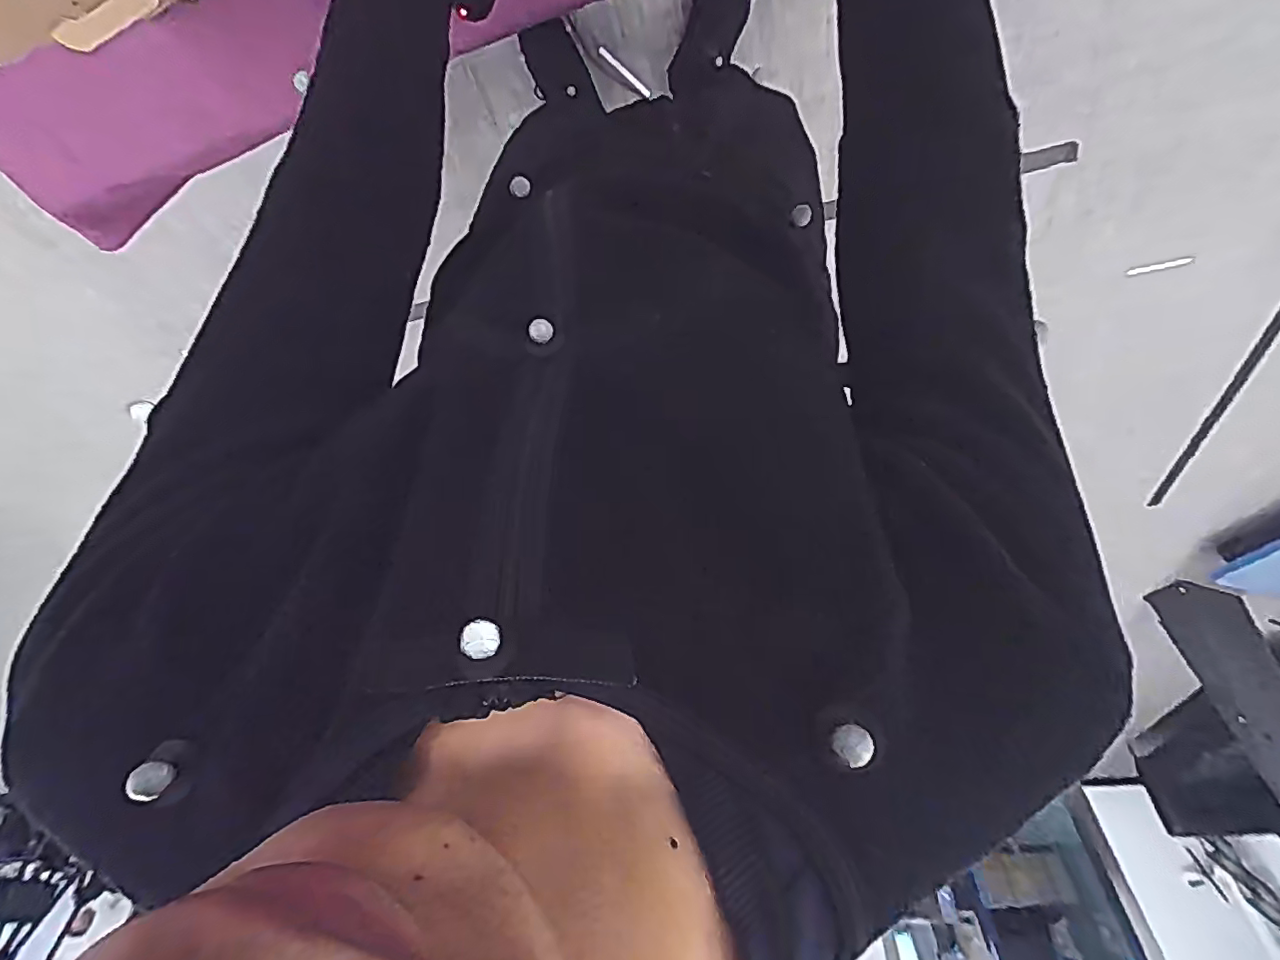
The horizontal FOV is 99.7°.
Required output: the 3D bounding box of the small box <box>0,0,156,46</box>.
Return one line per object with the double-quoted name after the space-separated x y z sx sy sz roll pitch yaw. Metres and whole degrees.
-0.469 -0.496 0.428 0.168 0.176 0.179 -14 137 14 "small box"
